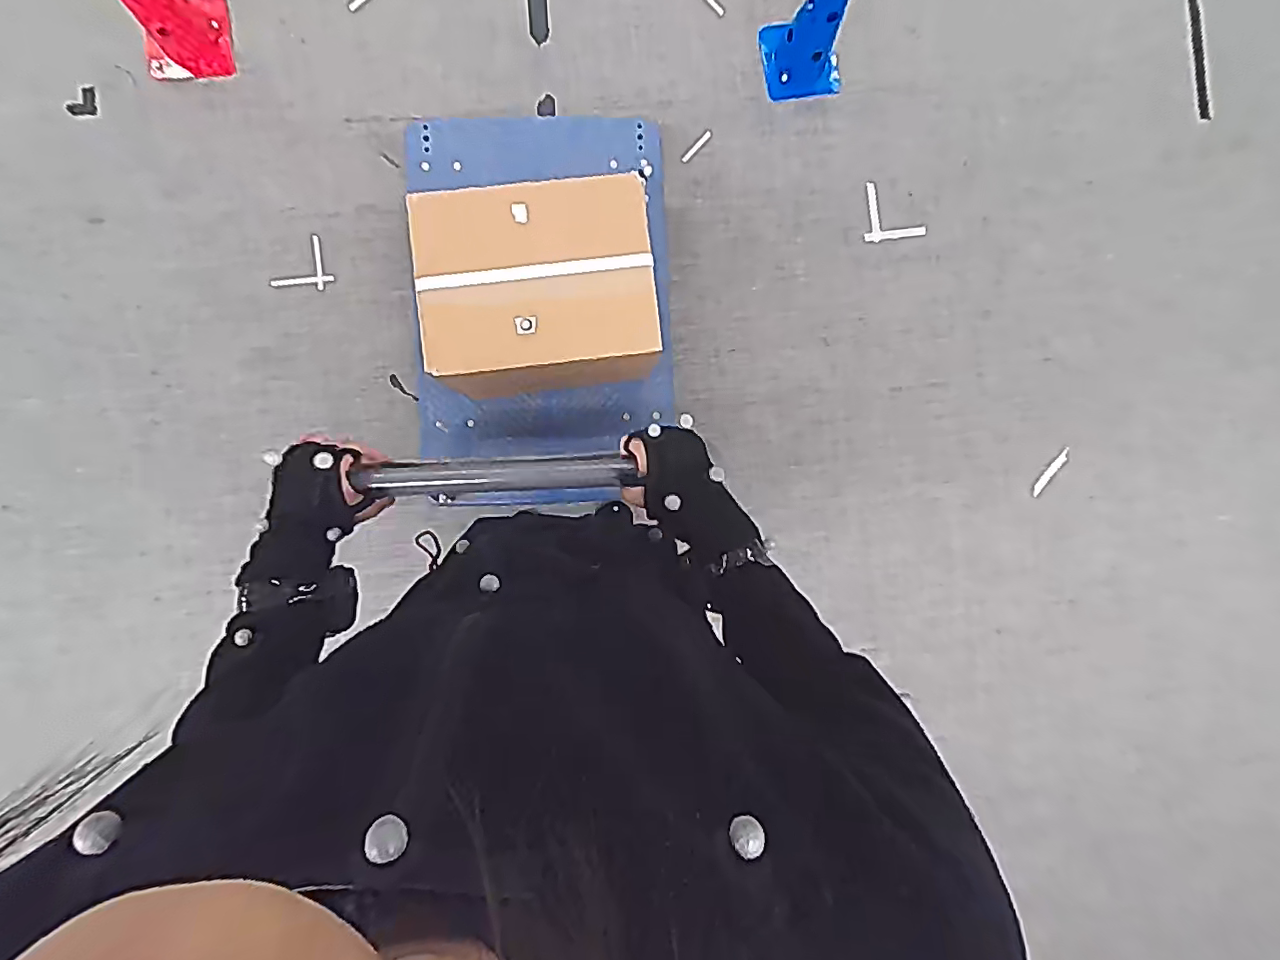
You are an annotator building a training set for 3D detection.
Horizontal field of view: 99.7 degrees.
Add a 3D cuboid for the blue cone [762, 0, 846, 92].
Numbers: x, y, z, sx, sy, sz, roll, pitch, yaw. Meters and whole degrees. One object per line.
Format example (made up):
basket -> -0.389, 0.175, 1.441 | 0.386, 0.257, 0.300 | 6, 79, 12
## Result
blue cone -> 0.439, -1.128, 1.271 | 0.193, 0.380, 0.192 | -9, 90, -4
